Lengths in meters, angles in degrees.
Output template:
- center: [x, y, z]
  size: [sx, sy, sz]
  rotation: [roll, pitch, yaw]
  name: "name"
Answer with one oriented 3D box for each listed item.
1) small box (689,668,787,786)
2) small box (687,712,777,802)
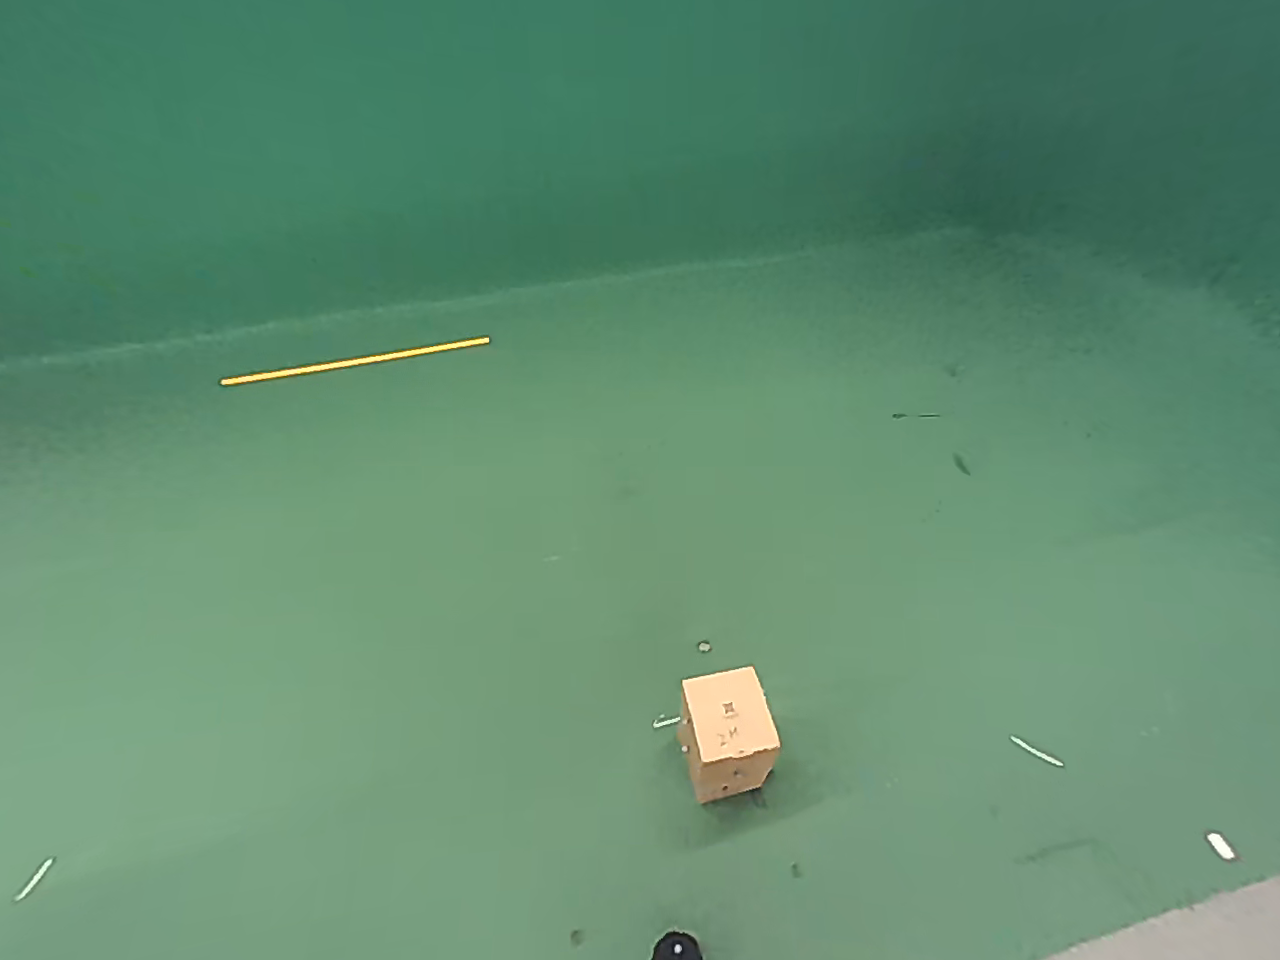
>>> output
- center: [0.206, 0.548, 1.197]
  size: [0.168, 0.176, 0.179]
  rotation: [-10, 47, -5]
  name: "small box"
- center: [0.218, 0.661, 1.318]
  size: [0.168, 0.176, 0.179]
  rotation: [-12, 47, -7]
  name: "small box"
